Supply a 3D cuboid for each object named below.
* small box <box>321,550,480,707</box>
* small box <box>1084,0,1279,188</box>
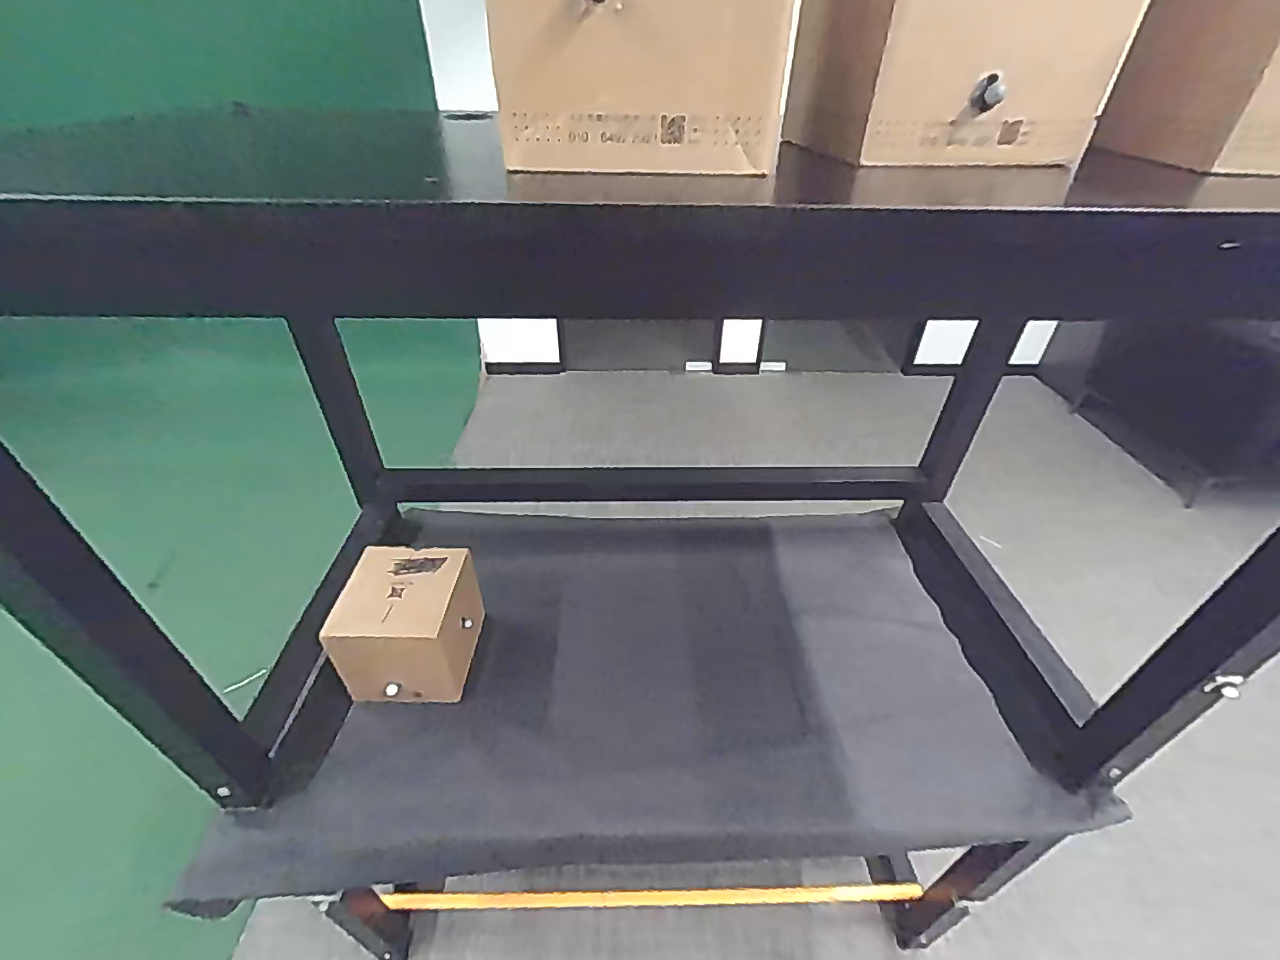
[{"bbox_3d":[-0.361,0.232,0.856,0.168,0.176,0.179,1,38,-1],"label":"small box"},{"bbox_3d":[0.470,-0.305,0.375,0.168,0.176,0.179,7,37,7],"label":"small box"}]
